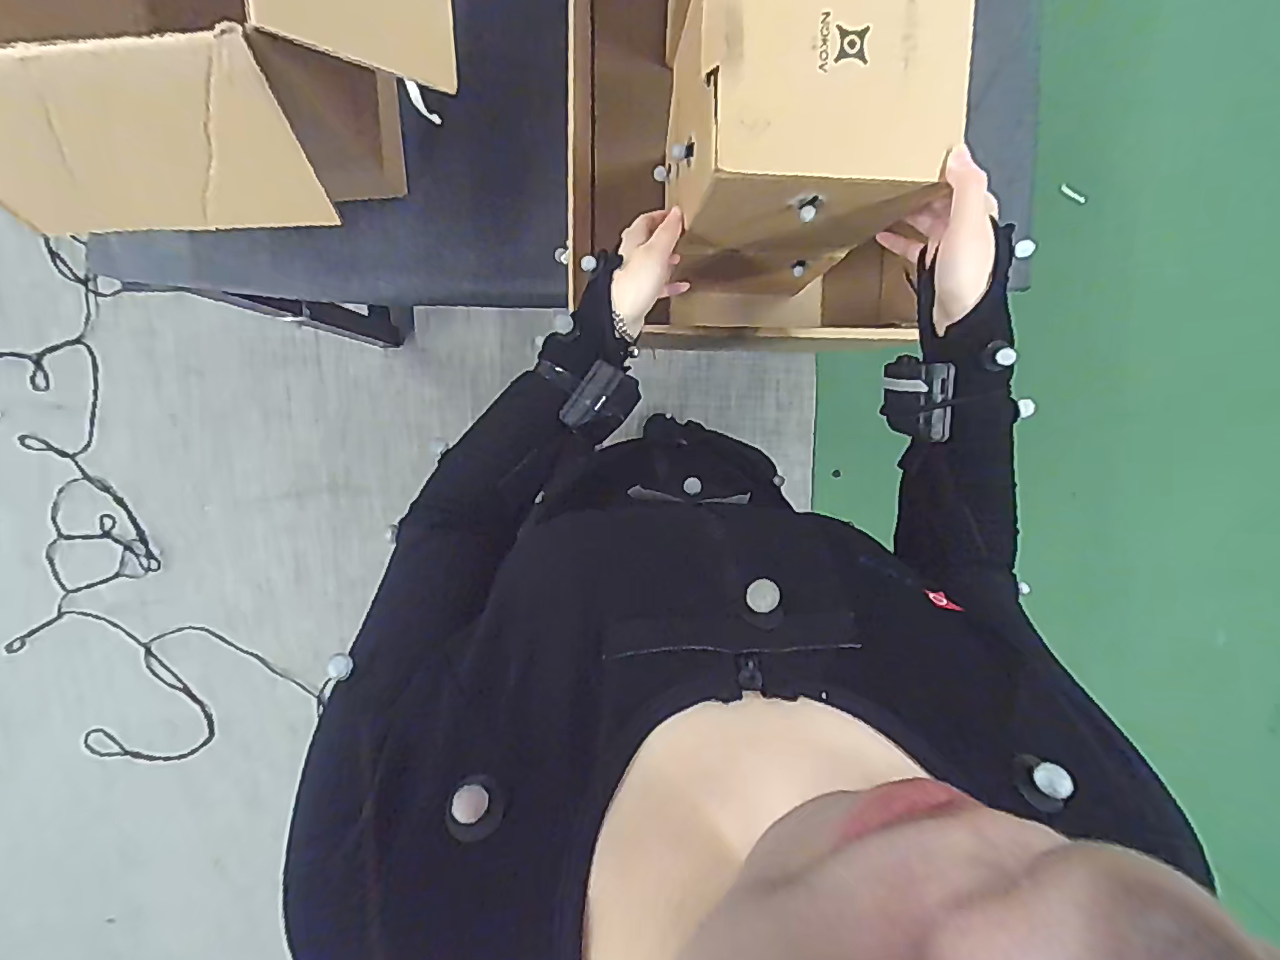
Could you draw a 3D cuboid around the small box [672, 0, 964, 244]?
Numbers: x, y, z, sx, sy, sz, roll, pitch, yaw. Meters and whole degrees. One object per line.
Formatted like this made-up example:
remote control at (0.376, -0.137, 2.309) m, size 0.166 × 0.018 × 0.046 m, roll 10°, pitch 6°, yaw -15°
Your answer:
small box at (0.124, -0.300, 0.439) m, size 0.179 × 0.176 × 0.168 m, roll -1°, pitch 99°, yaw -7°
